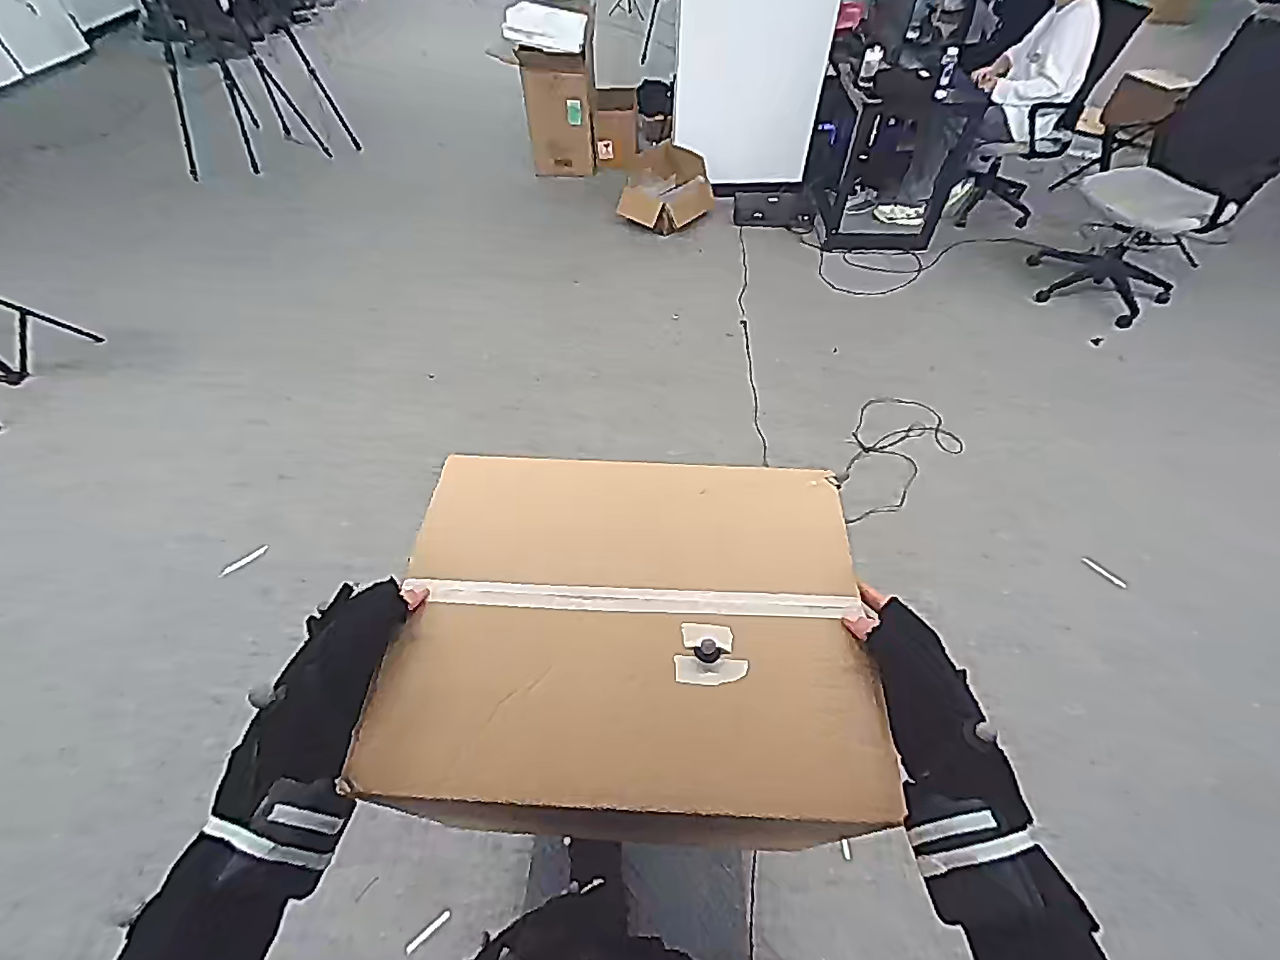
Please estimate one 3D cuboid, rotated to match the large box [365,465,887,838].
[{"bbox_3d":[-0.009,0.202,0.611,0.408,0.320,0.320,3,53,1],"label":"large box"}]
